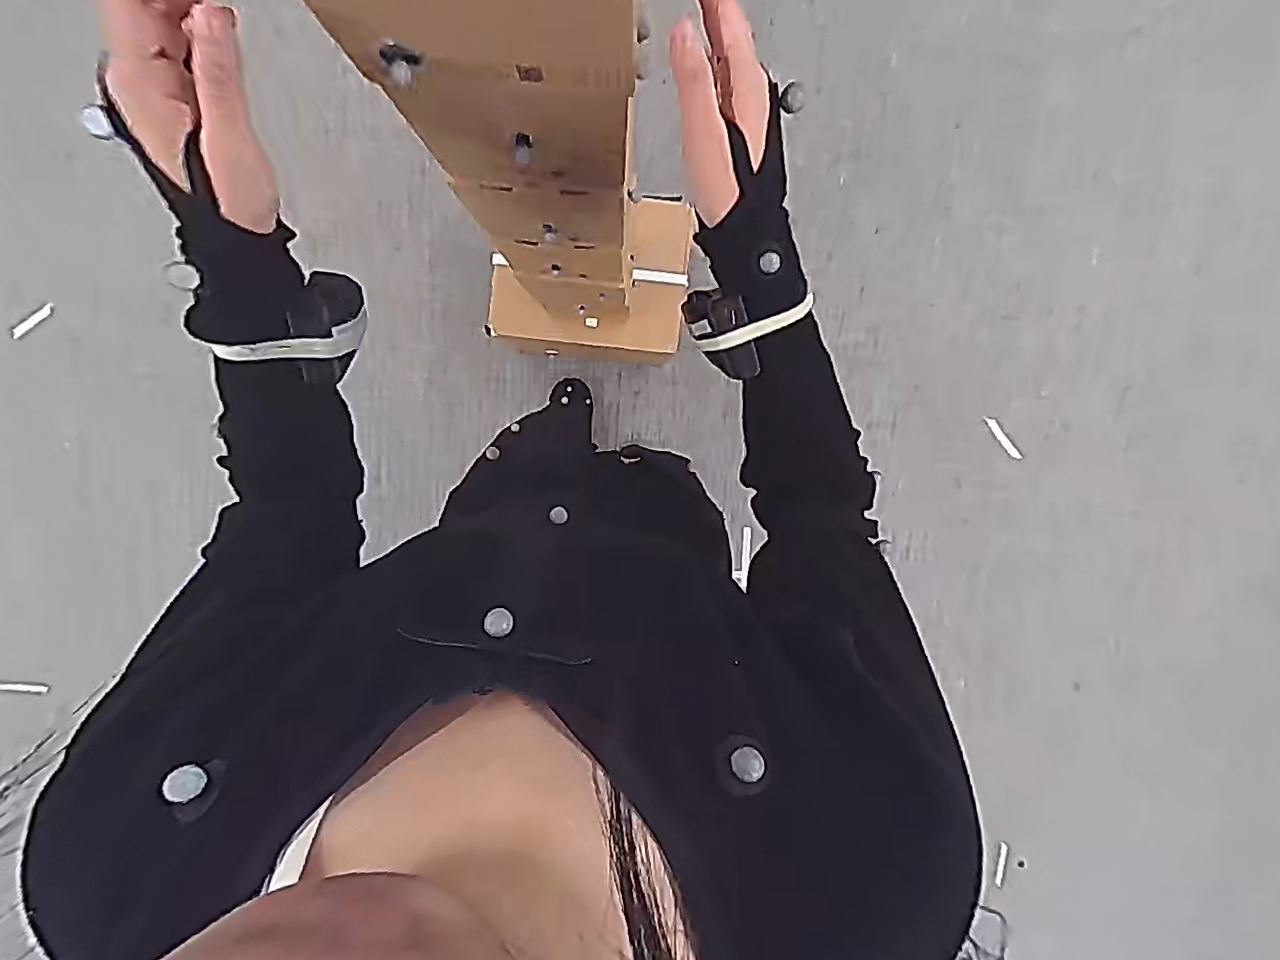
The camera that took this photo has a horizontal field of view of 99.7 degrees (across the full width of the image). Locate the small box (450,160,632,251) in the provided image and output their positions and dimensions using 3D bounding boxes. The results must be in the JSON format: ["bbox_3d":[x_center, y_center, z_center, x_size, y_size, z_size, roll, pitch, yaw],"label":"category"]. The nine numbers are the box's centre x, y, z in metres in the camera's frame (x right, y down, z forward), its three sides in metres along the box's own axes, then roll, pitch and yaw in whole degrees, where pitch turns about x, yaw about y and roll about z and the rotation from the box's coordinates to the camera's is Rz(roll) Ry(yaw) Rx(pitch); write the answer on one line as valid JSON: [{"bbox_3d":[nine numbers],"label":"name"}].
[{"bbox_3d":[-0.092,-0.360,0.569,0.168,0.176,0.179,3,98,-2],"label":"small box"}]

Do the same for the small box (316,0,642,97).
[{"bbox_3d":[-0.078,-0.311,0.245,0.168,0.176,0.179,2,98,-2],"label":"small box"}]

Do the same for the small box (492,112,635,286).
[{"bbox_3d":[-0.097,-0.378,0.733,0.168,0.176,0.179,4,98,-2],"label":"small box"}]

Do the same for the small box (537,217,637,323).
[{"bbox_3d":[-0.100,-0.408,1.058,0.179,0.176,0.168,3,98,-3],"label":"small box"}]

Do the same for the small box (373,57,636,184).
[{"bbox_3d":[-0.085,-0.344,0.407,0.168,0.176,0.179,1,99,-2],"label":"small box"}]
